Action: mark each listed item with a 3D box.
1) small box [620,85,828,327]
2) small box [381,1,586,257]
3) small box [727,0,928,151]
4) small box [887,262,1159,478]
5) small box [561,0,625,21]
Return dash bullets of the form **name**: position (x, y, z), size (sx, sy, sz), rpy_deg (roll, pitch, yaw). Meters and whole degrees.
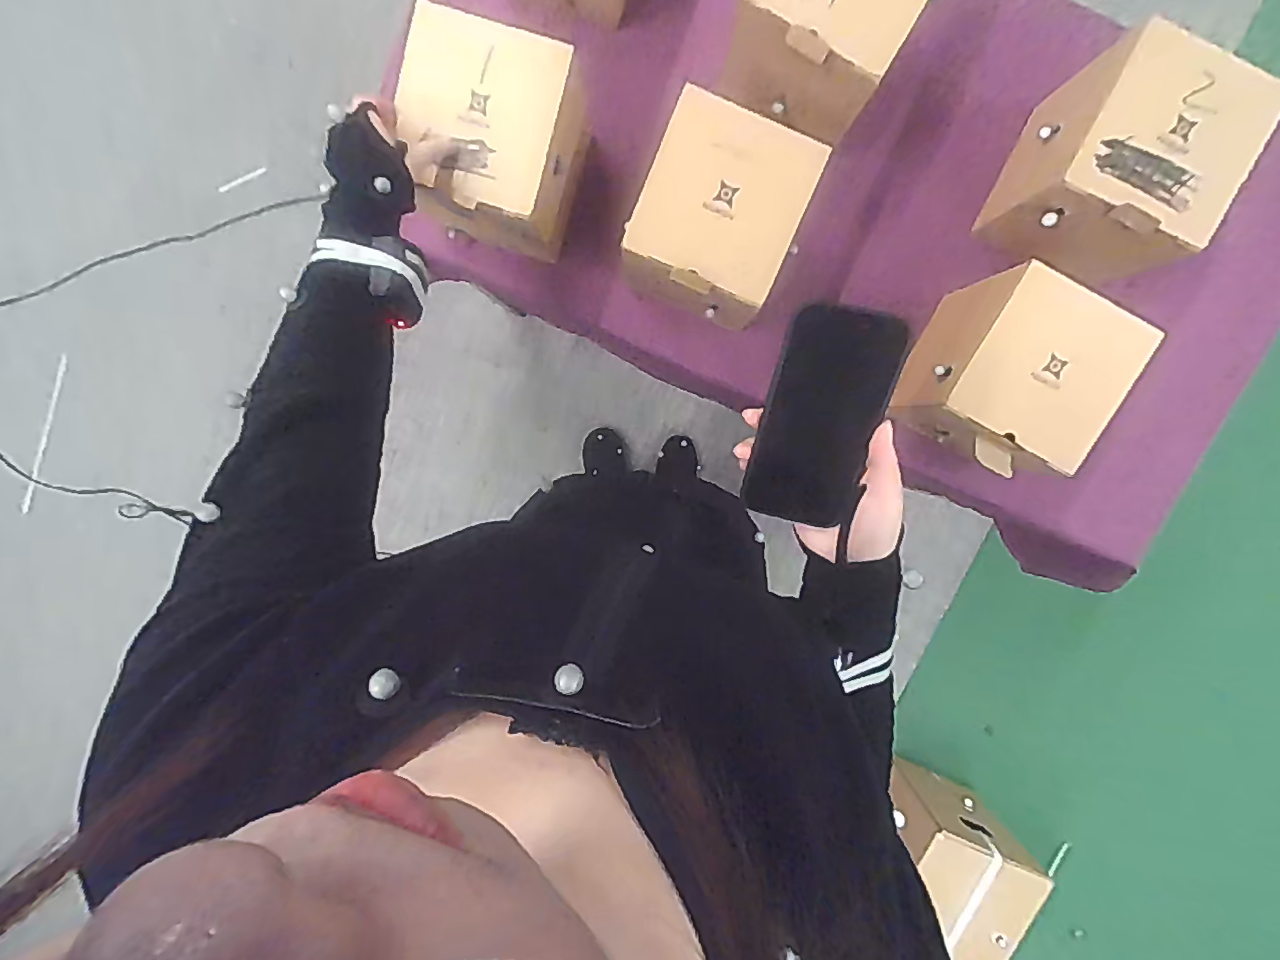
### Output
- **small box**: position (0.088, -0.300, 0.639), size (0.168, 0.176, 0.179), rpy_deg (24, 96, -3)
- **small box**: position (-0.167, -0.385, 0.632), size (0.168, 0.176, 0.179), rpy_deg (17, 96, -1)
- **small box**: position (0.213, -0.522, 0.606), size (0.168, 0.176, 0.179), rpy_deg (31, 97, -2)
- **small box**: position (0.436, -0.125, 0.652), size (0.168, 0.176, 0.179), rpy_deg (28, 97, -2)
- **small box**: position (-0.078, -0.669, 0.594), size (0.168, 0.176, 0.179), rpy_deg (19, 98, -2)
